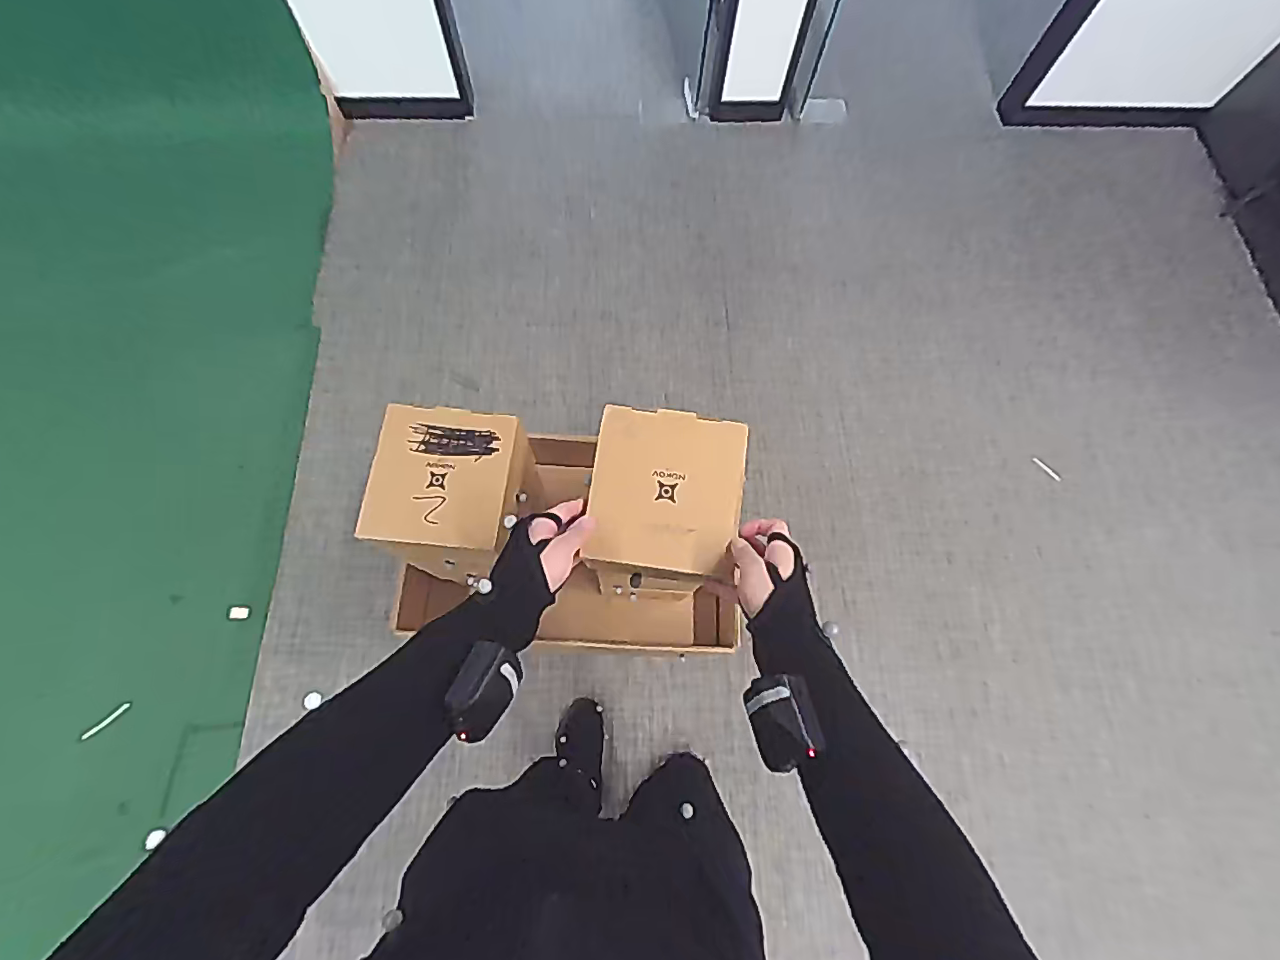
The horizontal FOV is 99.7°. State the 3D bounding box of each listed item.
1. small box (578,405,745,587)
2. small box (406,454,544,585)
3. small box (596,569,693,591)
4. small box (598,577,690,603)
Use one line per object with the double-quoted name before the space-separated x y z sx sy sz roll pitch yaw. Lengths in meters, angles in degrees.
"small box" 0.024 0.029 0.664 0.168 0.176 0.179 8 76 1
"small box" -0.257 0.073 0.888 0.168 0.176 0.179 5 71 -1
"small box" 0.019 0.086 0.895 0.168 0.176 0.179 3 70 -1
"small box" 0.012 0.141 1.050 0.168 0.176 0.179 4 71 0
